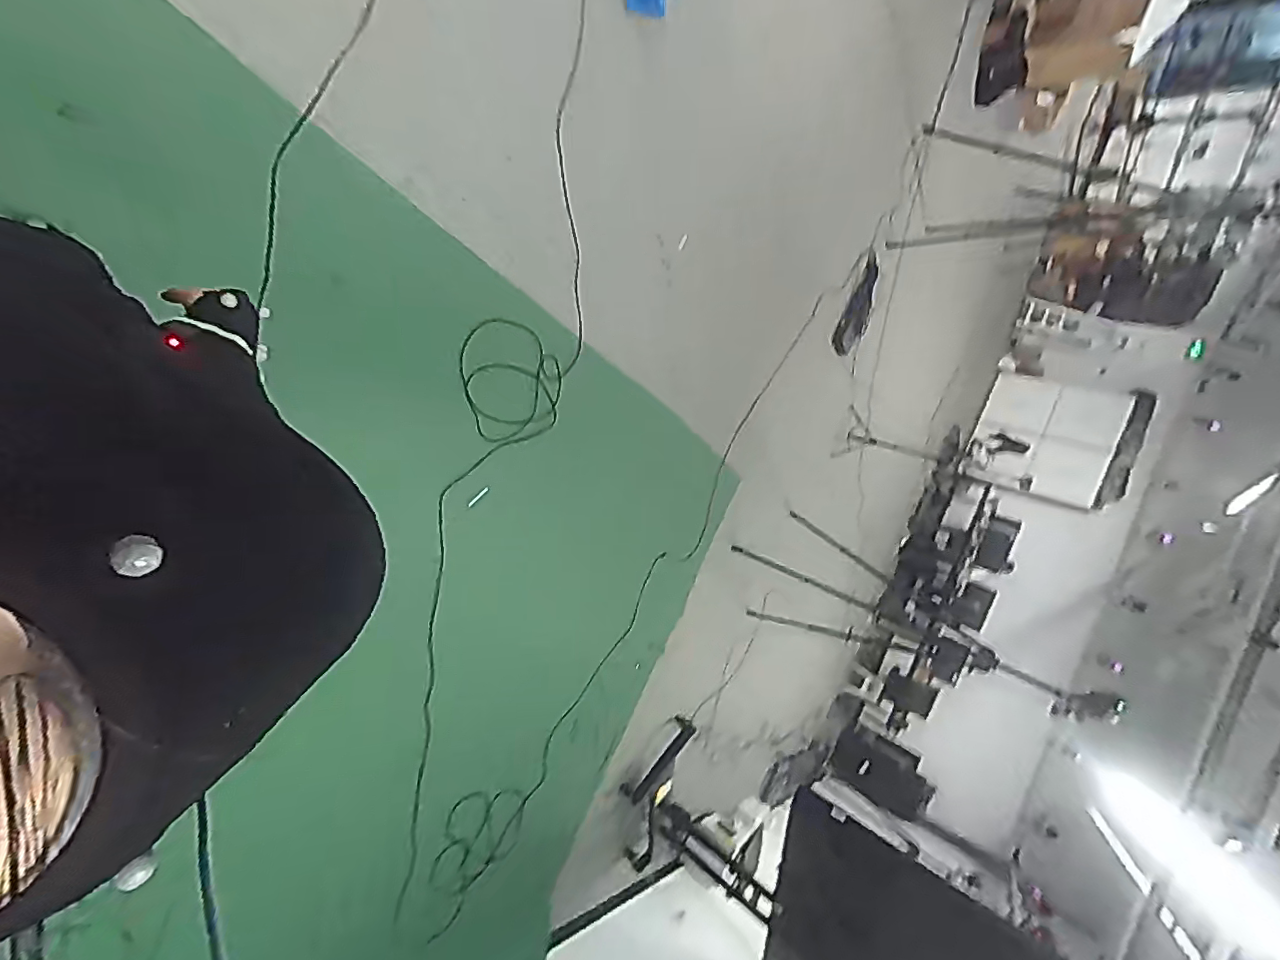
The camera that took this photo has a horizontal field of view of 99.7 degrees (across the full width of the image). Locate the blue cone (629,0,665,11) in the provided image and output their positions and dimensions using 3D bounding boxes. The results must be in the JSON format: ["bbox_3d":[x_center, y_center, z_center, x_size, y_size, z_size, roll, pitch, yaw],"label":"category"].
[{"bbox_3d":[0.142,-1.584,1.633,0.193,0.380,0.192,-36,132,-39],"label":"blue cone"}]
